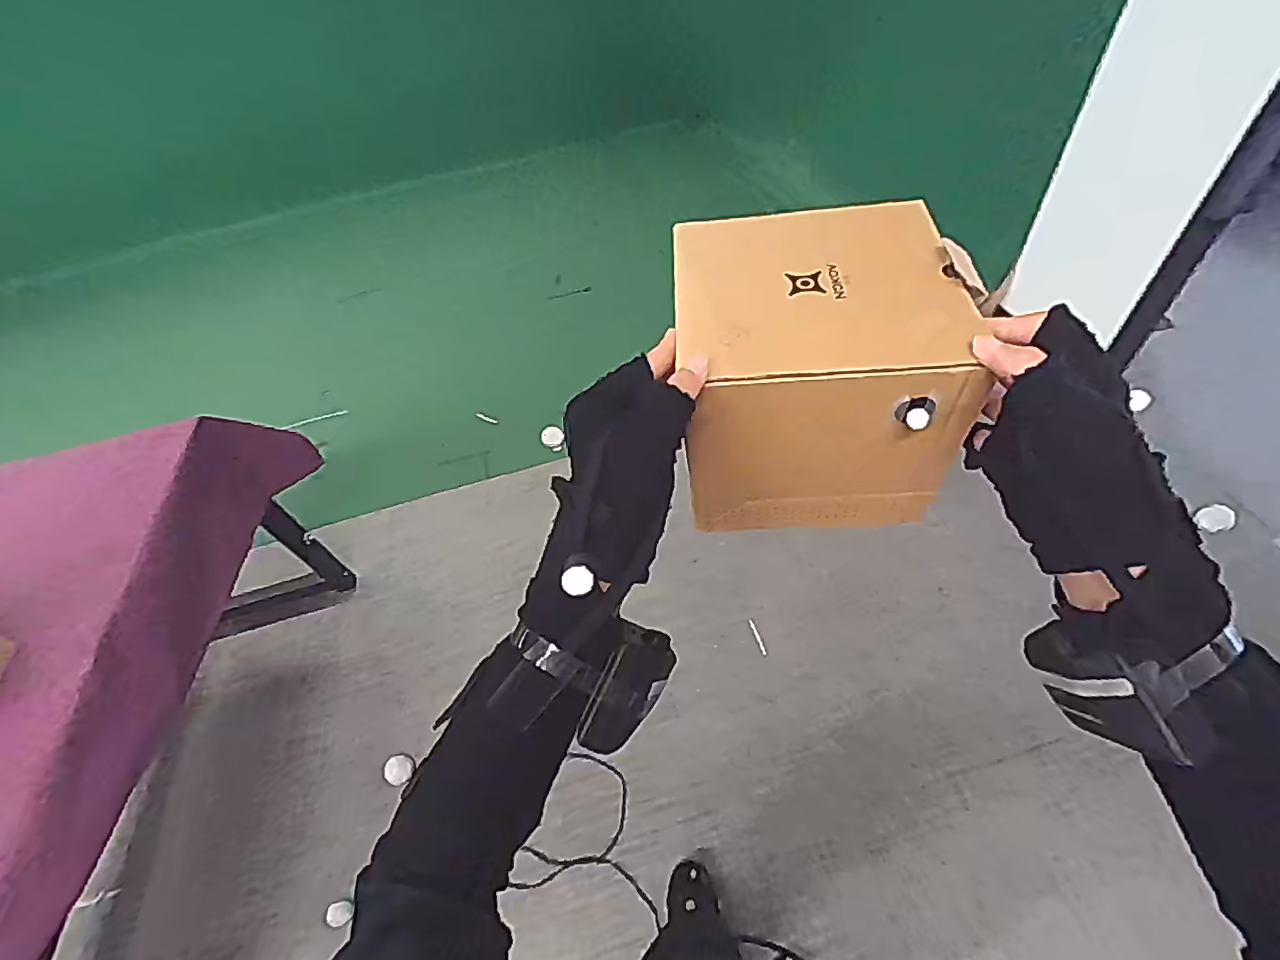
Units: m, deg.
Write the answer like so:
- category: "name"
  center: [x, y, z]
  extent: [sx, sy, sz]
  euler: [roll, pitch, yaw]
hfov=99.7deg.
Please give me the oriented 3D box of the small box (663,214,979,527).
- category: "small box"
  center: [0.112, -0.074, 0.413]
  extent: [0.179, 0.176, 0.168]
  euler: [-2, 54, 6]
